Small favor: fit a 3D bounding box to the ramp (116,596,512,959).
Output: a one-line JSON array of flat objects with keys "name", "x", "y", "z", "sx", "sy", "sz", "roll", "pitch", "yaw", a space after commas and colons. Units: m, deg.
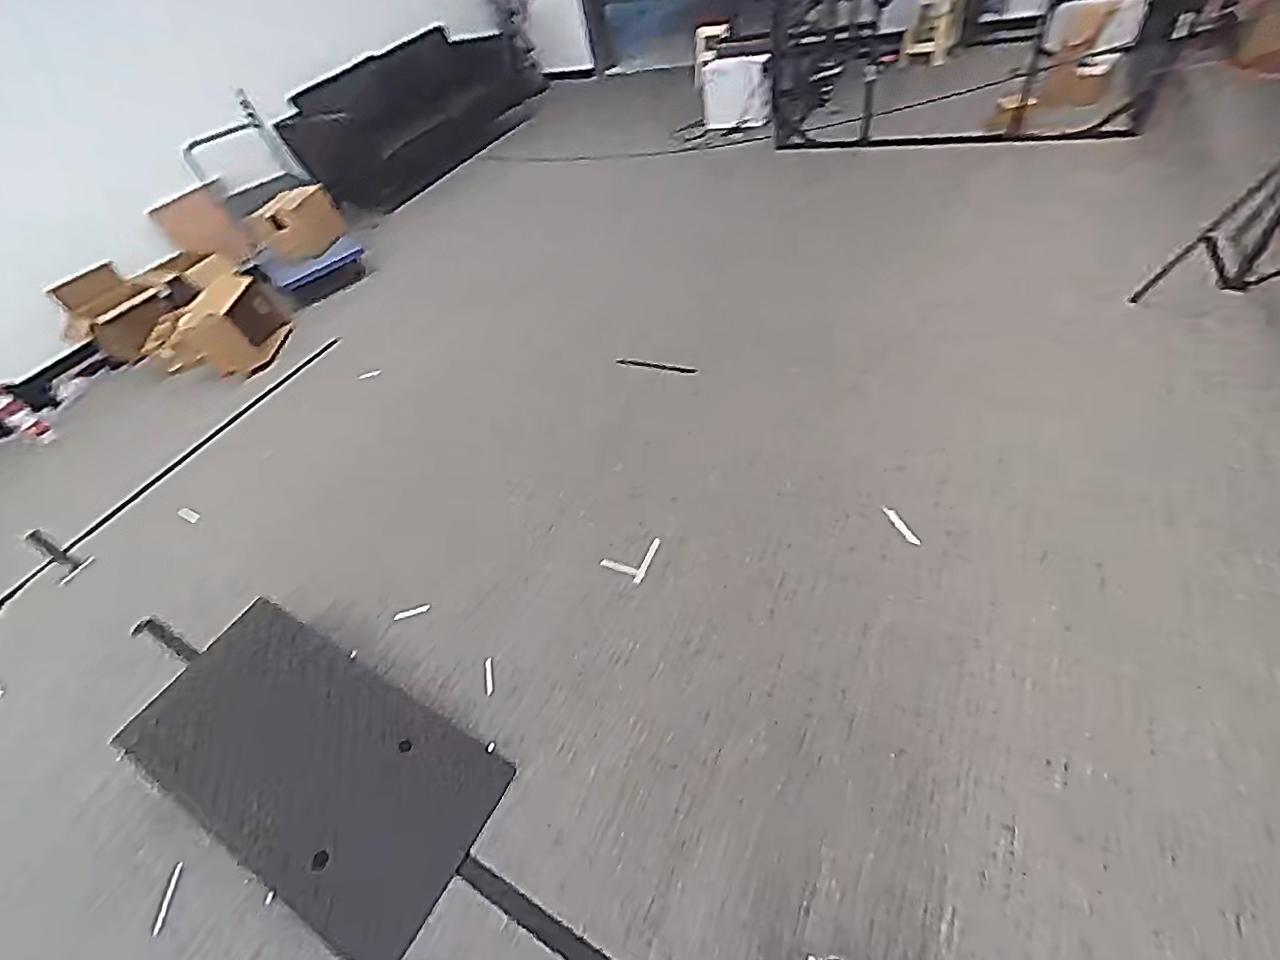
[{"name": "ramp", "x": -0.871, "y": 0.725, "z": 1.437, "sx": 0.991, "sy": 0.206, "sz": 0.509, "roll": 16, "pitch": 54, "yaw": 26}]
